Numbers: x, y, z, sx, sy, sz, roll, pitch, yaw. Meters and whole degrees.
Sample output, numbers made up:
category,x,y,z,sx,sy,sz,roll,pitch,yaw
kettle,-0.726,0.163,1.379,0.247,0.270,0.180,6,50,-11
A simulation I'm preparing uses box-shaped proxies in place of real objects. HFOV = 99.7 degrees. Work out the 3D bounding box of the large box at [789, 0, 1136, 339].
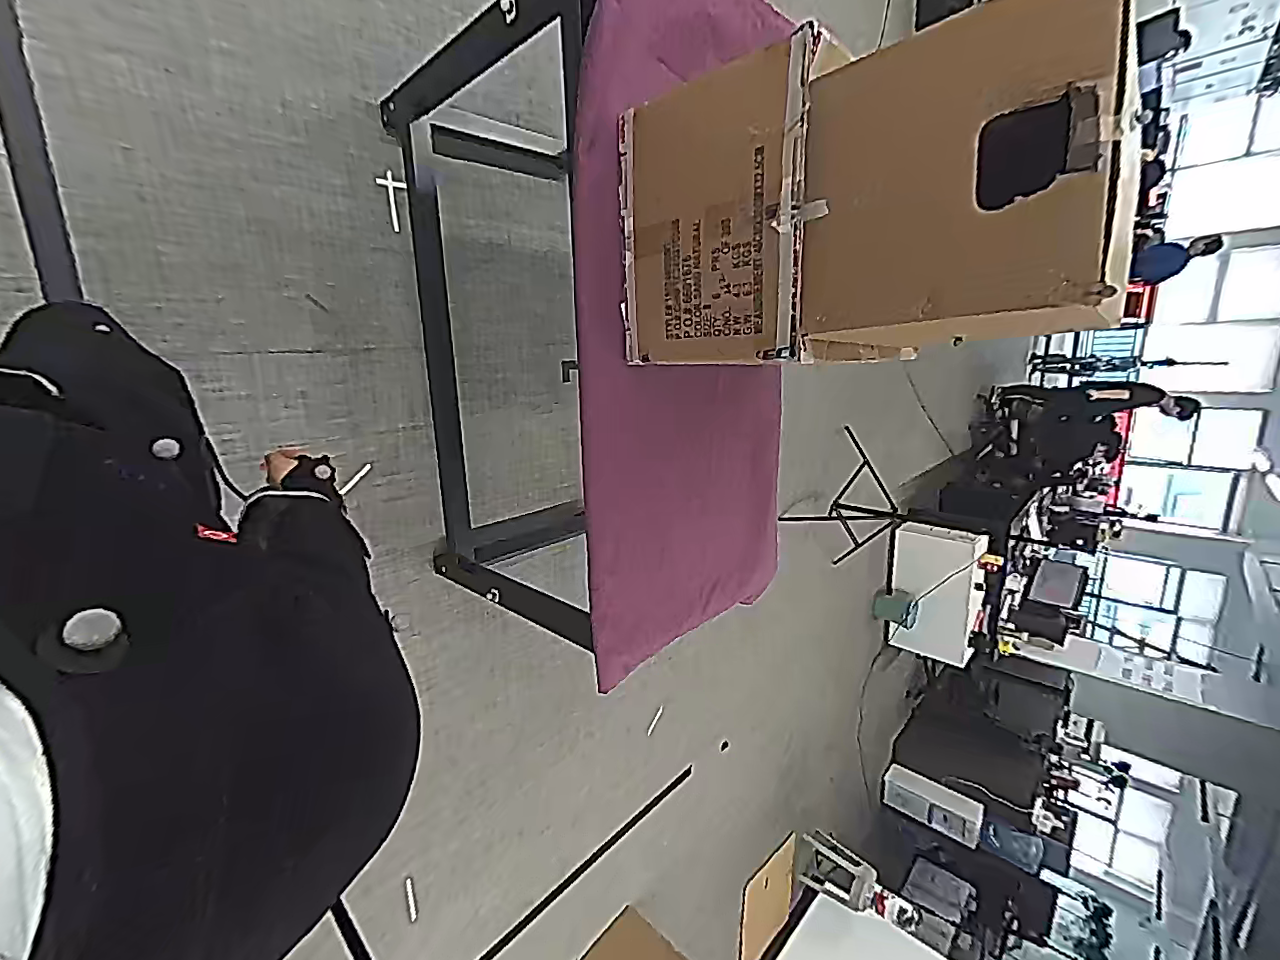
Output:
category,x,y,z,sx,sy,sz,roll,pitch,yaw
large box,0.441,-0.361,0.732,0.408,0.320,0.320,-13,103,-45
